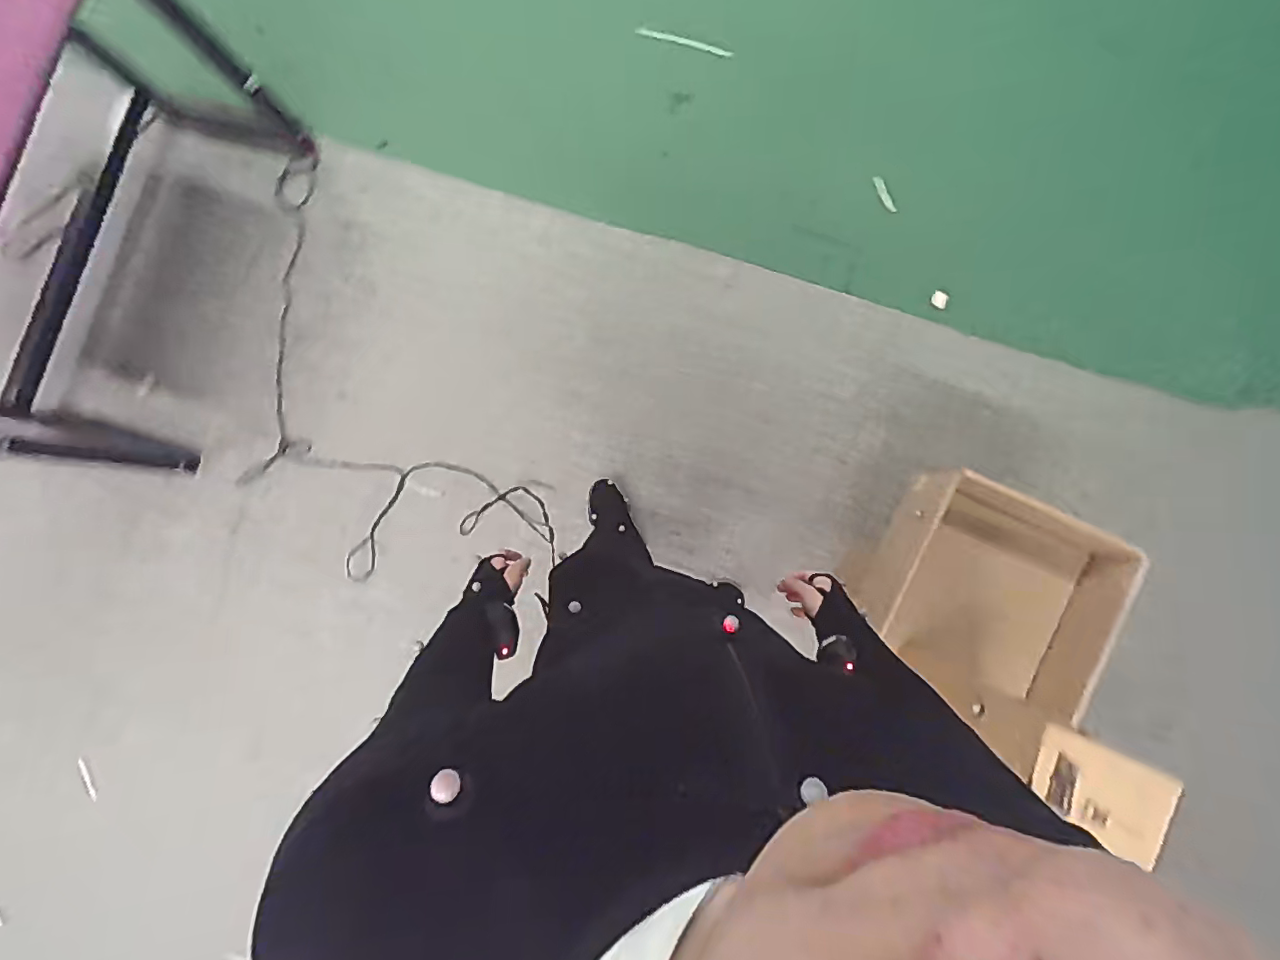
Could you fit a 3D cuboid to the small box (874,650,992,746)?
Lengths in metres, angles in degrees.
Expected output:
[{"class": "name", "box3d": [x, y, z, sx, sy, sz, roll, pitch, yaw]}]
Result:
[{"class": "small box", "box3d": [0.610, 0.463, 1.086, 0.179, 0.176, 0.168, 24, 87, 4]}]

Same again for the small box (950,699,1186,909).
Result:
[{"class": "small box", "box3d": [0.581, 0.433, 0.762, 0.179, 0.176, 0.168, 24, 87, 4]}]

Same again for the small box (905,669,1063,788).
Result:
[{"class": "small box", "box3d": [0.595, 0.448, 0.924, 0.179, 0.176, 0.168, 25, 87, 6]}]
